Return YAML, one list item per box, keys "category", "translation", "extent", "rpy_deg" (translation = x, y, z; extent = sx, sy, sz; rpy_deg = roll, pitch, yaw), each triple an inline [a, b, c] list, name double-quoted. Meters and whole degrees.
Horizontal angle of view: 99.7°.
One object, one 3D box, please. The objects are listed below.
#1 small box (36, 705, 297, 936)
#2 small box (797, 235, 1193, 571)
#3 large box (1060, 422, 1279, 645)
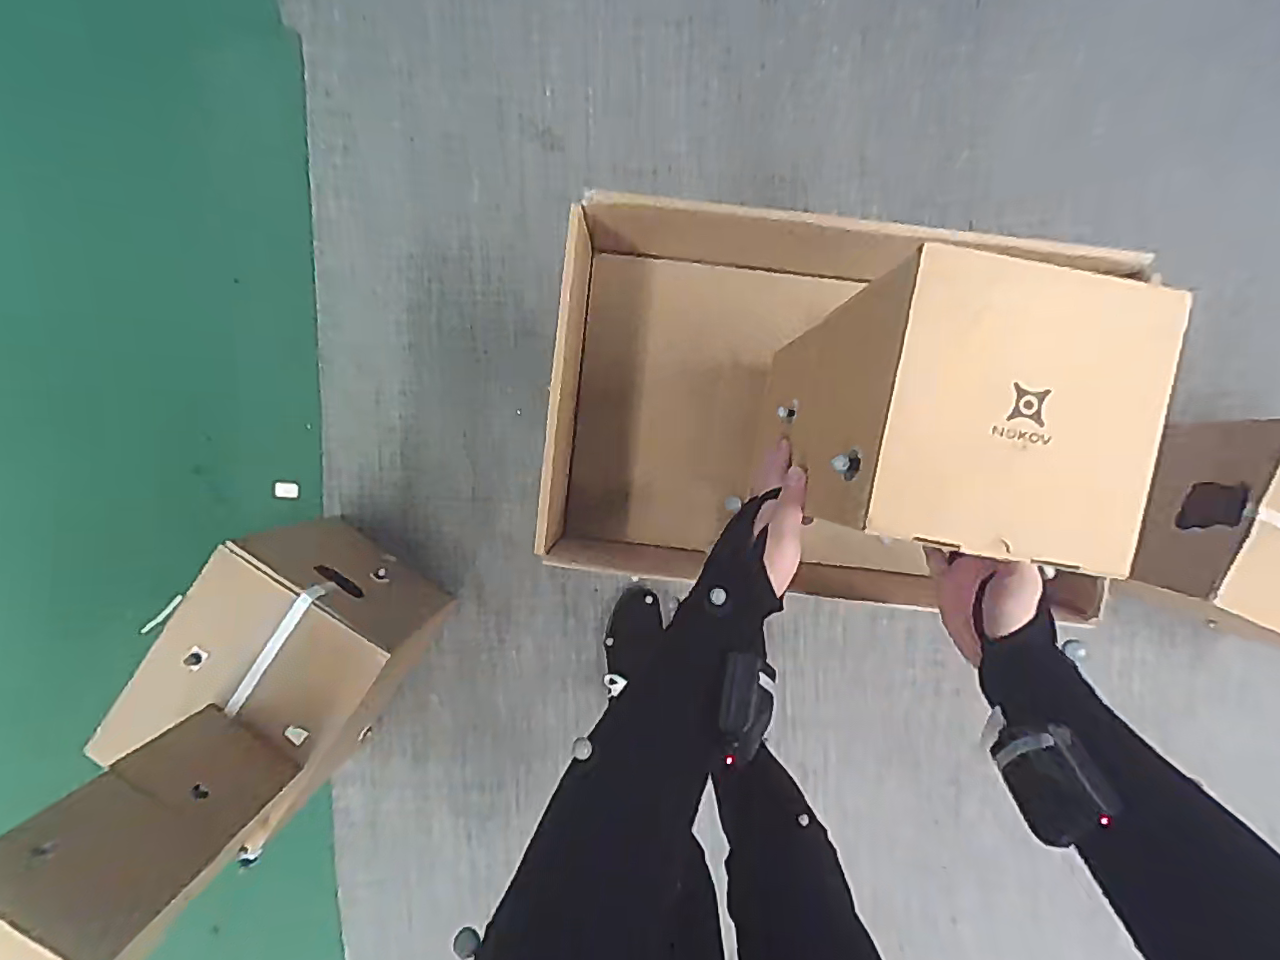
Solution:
- category: "small box"
  translation: [-0.629, 0.450, 0.746]
  extent: [0.179, 0.176, 0.168]
  rpy_deg: [39, 92, -3]
- category: "small box"
  translation: [0.231, -0.048, 0.400]
  extent: [0.168, 0.176, 0.179]
  rpy_deg: [10, 93, -2]
- category: "large box"
  translation: [1.113, 0.113, 0.981]
  extent: [0.408, 0.320, 0.320]
  rpy_deg: [23, 93, -1]
